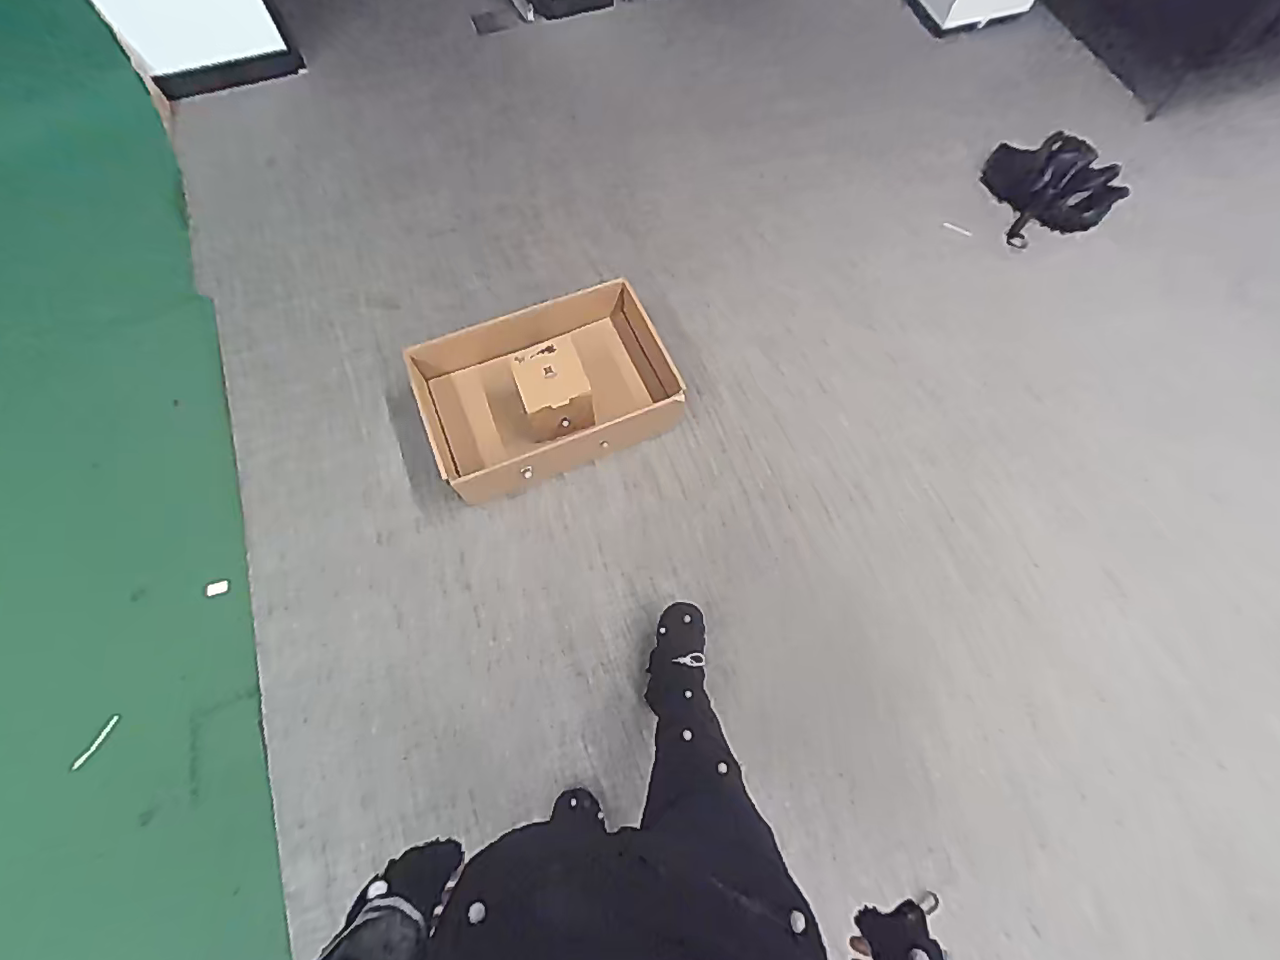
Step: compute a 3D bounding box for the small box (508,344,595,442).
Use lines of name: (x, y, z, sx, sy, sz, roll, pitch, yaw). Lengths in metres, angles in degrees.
small box: (-0.221, -0.214, 1.392, 0.168, 0.176, 0.179, -19, 70, -8)
